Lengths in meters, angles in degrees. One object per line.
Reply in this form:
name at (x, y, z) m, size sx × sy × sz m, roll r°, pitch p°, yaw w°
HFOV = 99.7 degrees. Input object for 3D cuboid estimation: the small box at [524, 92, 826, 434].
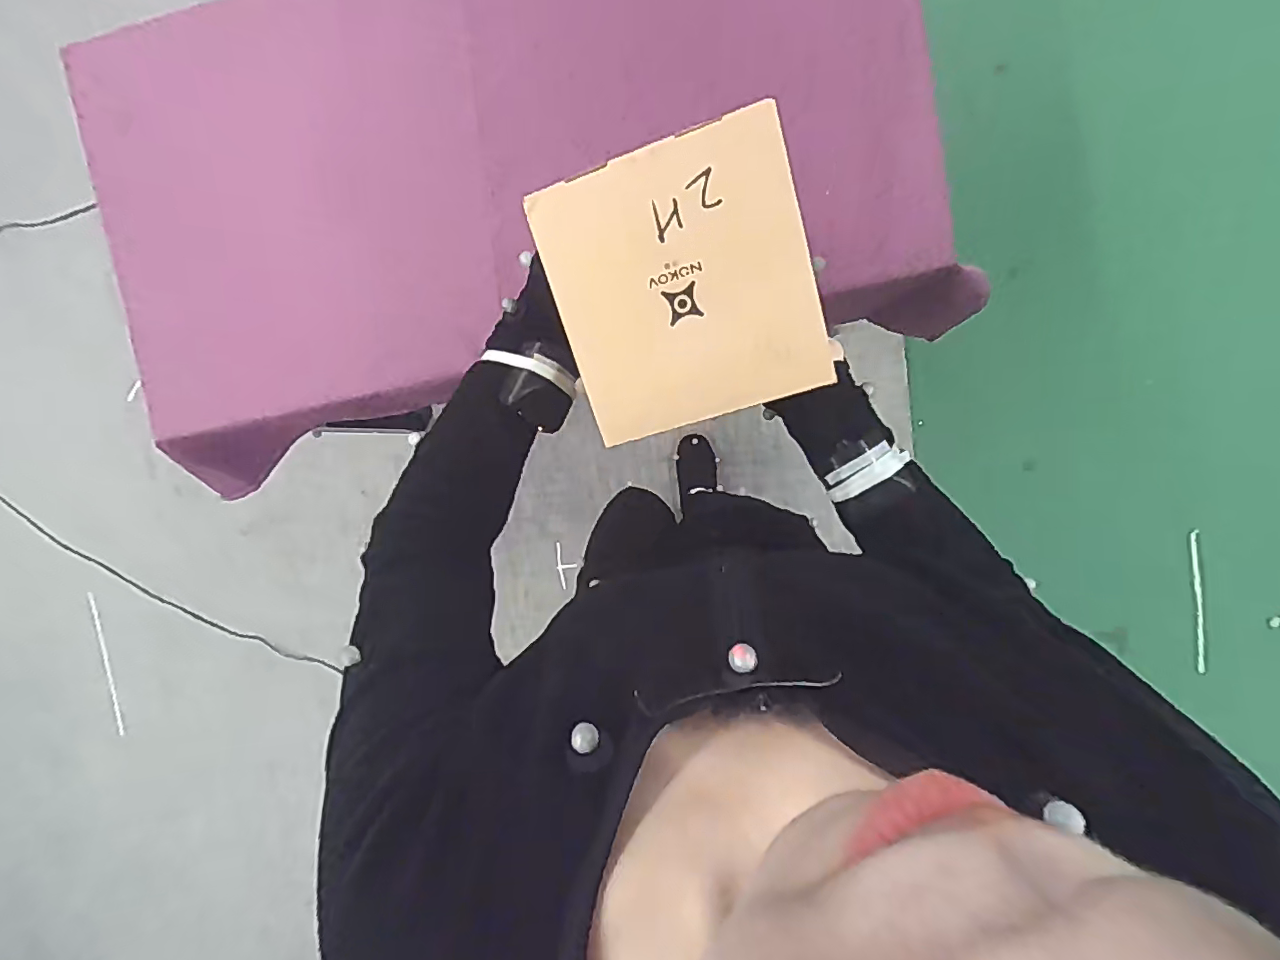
small box at (0.035, -0.154, 0.431) m, size 0.168 × 0.176 × 0.179 m, roll -15°, pitch 103°, yaw 11°
